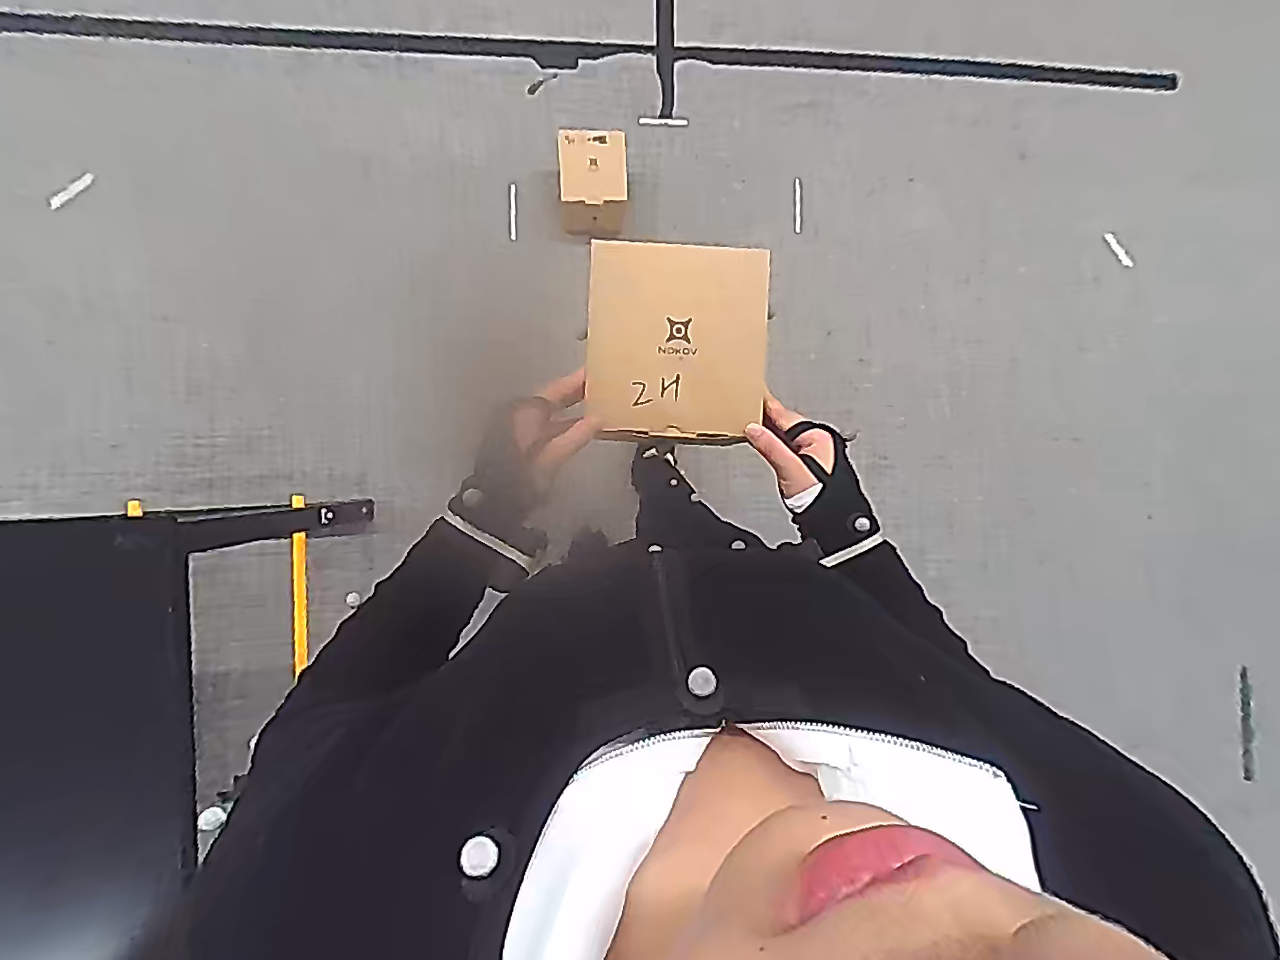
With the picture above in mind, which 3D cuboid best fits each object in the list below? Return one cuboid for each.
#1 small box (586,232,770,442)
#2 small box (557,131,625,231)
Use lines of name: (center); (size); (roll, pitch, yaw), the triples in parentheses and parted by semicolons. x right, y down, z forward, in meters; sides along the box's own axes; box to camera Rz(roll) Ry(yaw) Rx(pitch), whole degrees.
small box: (0.033, -0.137, 0.577); (0.168, 0.176, 0.179); (2, 91, -2)
small box: (-0.126, -0.766, 1.402); (0.168, 0.176, 0.179); (-2, 91, -5)
